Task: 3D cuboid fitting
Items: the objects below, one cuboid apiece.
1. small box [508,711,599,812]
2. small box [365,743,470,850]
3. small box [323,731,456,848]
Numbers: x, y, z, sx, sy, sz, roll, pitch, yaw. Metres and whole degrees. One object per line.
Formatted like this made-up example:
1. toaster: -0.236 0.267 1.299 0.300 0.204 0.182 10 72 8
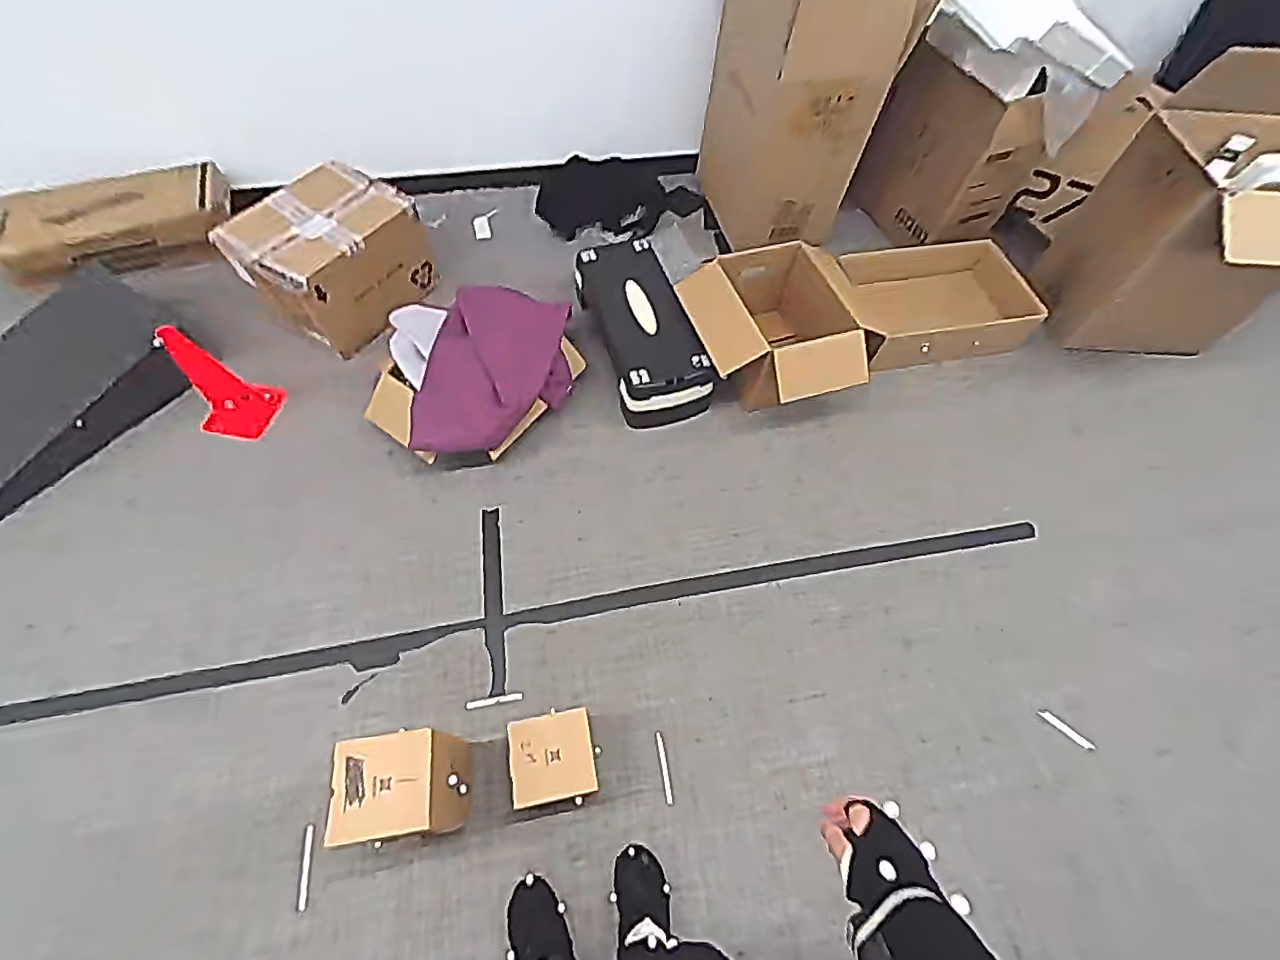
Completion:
1. small box: -0.188 0.623 1.204 0.179 0.176 0.168 -9 61 -7
2. small box: -0.468 0.672 1.166 0.168 0.176 0.179 -7 62 -6
3. small box: -0.463 0.584 1.025 0.179 0.176 0.168 -6 61 -6
